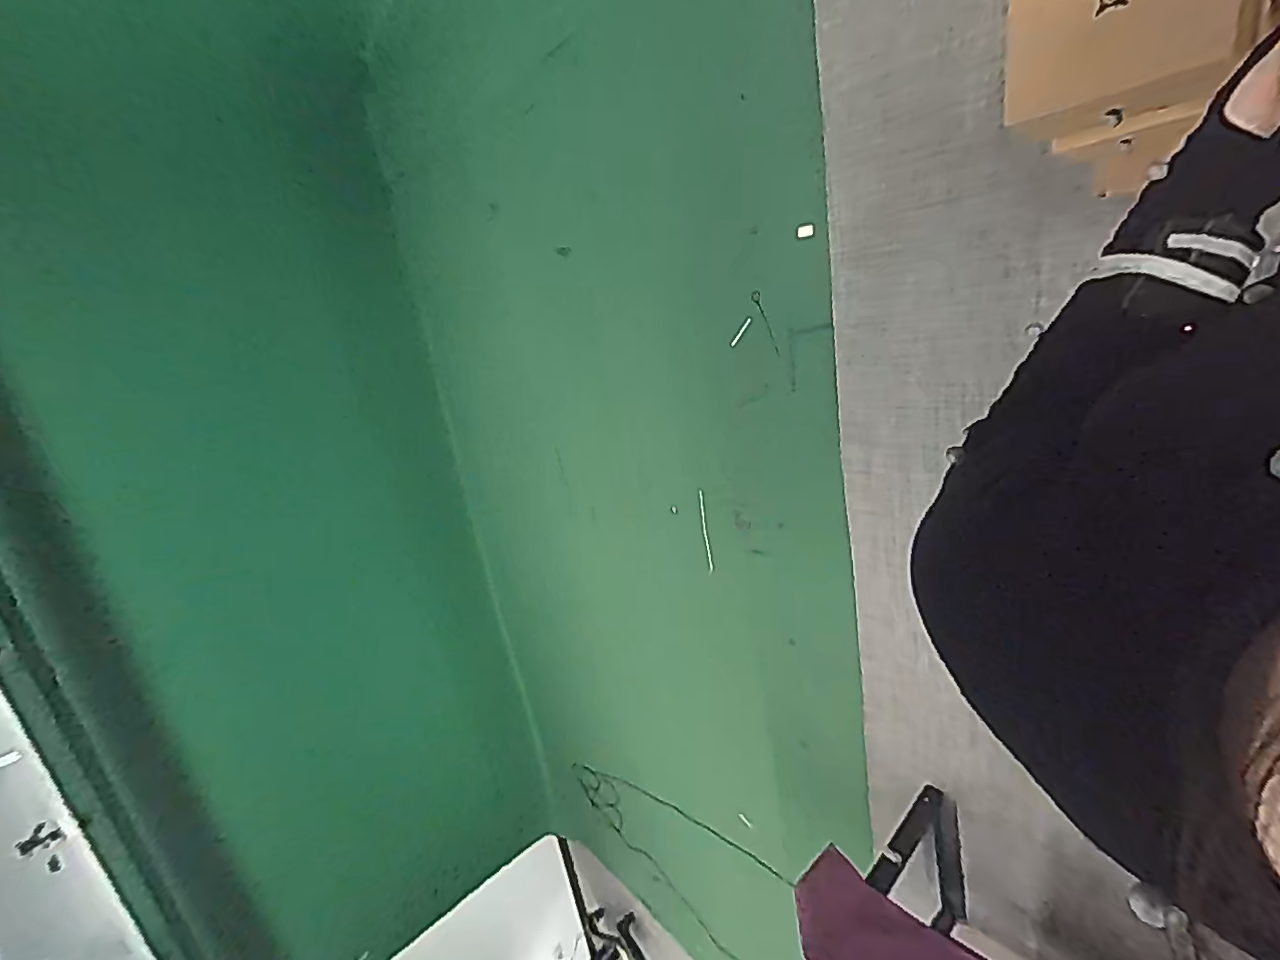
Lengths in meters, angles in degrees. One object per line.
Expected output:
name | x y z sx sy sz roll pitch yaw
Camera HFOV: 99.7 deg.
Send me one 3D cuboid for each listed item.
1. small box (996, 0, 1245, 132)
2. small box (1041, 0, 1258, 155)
small box | 0.479 -0.467 0.536 0.168 0.176 0.179 12 116 46
small box | 0.601 -0.504 0.640 0.168 0.176 0.179 9 115 47
